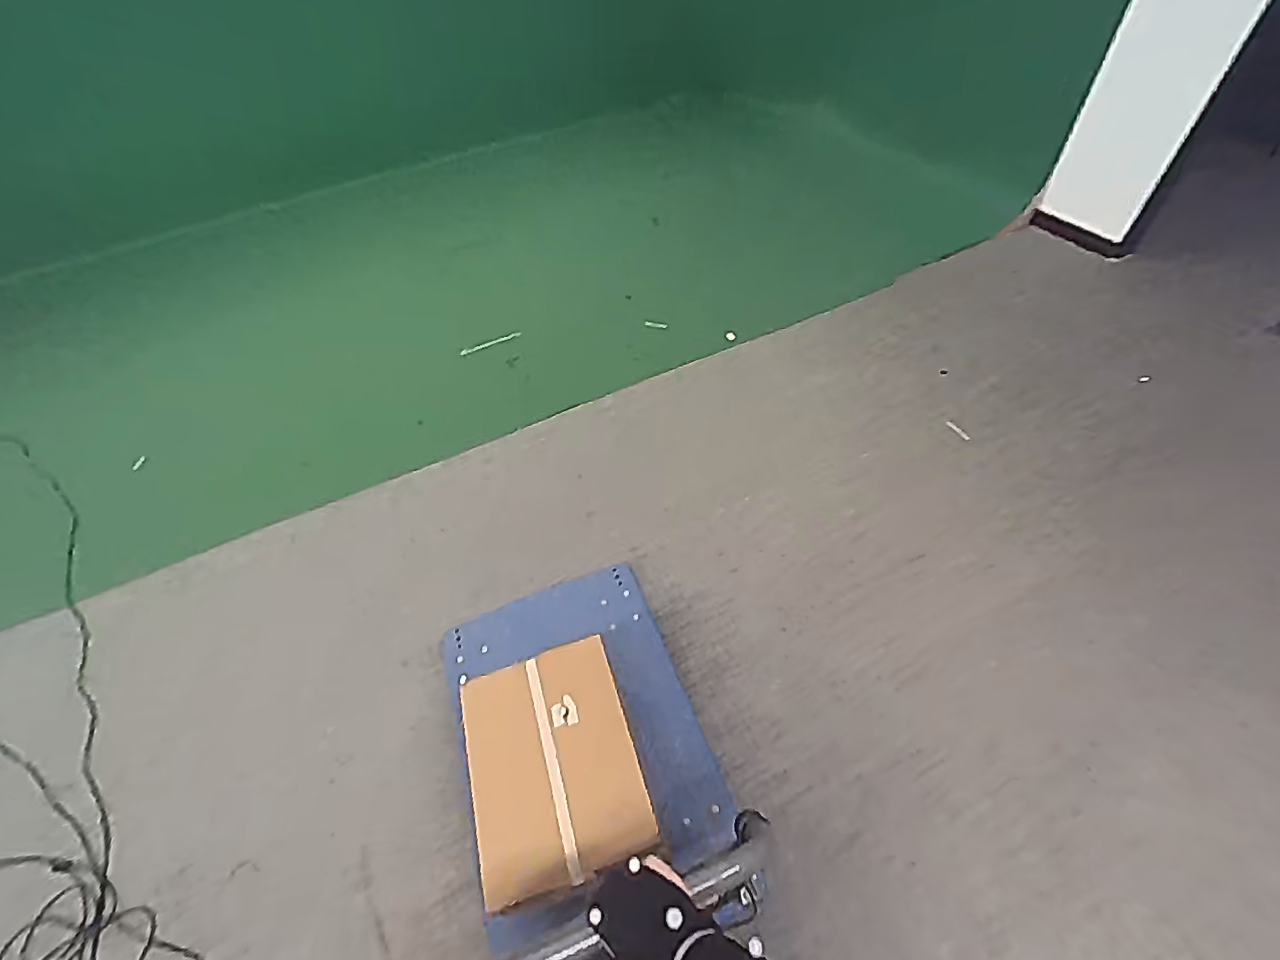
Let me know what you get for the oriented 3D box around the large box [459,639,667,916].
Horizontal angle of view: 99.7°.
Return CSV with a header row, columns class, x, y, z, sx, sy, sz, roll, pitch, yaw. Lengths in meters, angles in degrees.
class,x,y,z,sx,sy,sz,roll,pitch,yaw
large box,-0.160,0.628,1.153,0.320,0.320,0.408,-18,50,-8
